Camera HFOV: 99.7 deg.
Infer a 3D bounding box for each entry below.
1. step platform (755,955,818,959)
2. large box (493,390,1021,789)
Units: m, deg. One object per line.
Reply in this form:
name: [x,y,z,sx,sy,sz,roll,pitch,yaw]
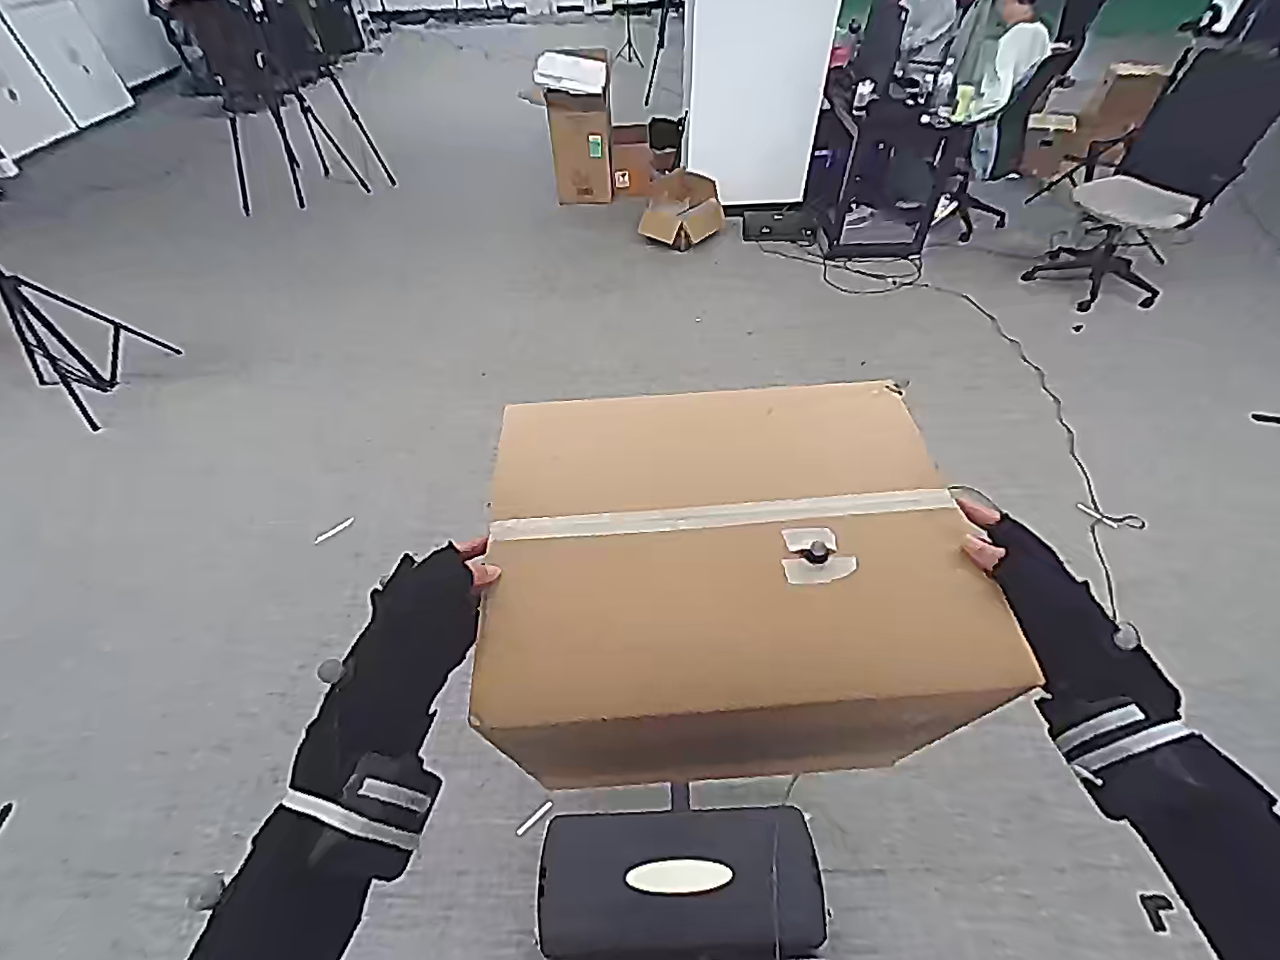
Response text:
step platform: [0.074,1.155,1.079,0.684,0.204,0.286,-4,48,1]
large box: [0.078,0.129,0.601,0.408,0.320,0.320,-4,53,-2]
